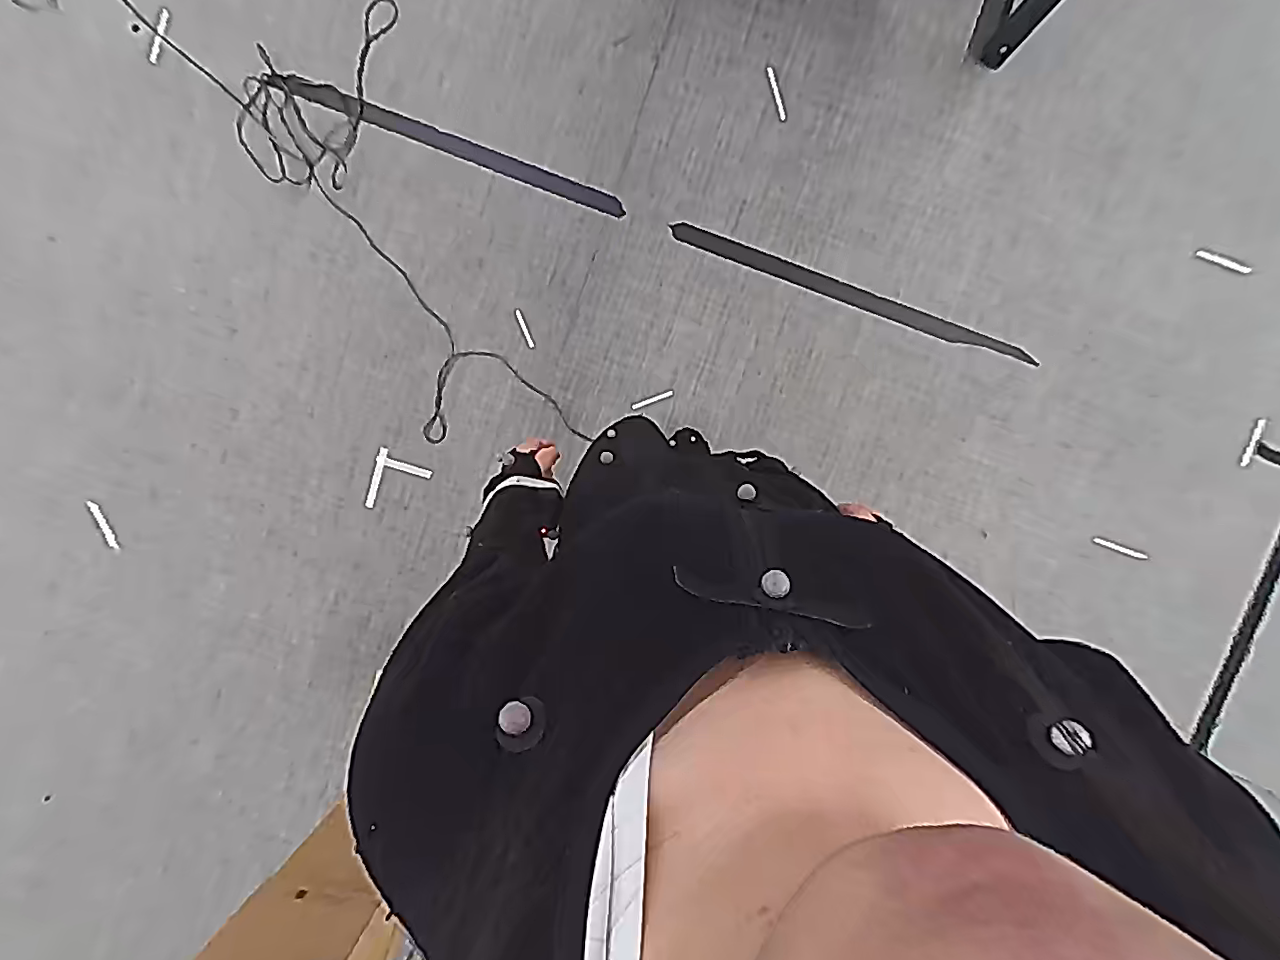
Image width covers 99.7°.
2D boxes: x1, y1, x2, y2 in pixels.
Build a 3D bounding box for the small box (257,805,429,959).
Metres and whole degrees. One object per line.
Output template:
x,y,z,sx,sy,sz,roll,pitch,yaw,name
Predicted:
-0.446,0.645,0.836,0.168,0.176,0.179,11,94,1,small box
